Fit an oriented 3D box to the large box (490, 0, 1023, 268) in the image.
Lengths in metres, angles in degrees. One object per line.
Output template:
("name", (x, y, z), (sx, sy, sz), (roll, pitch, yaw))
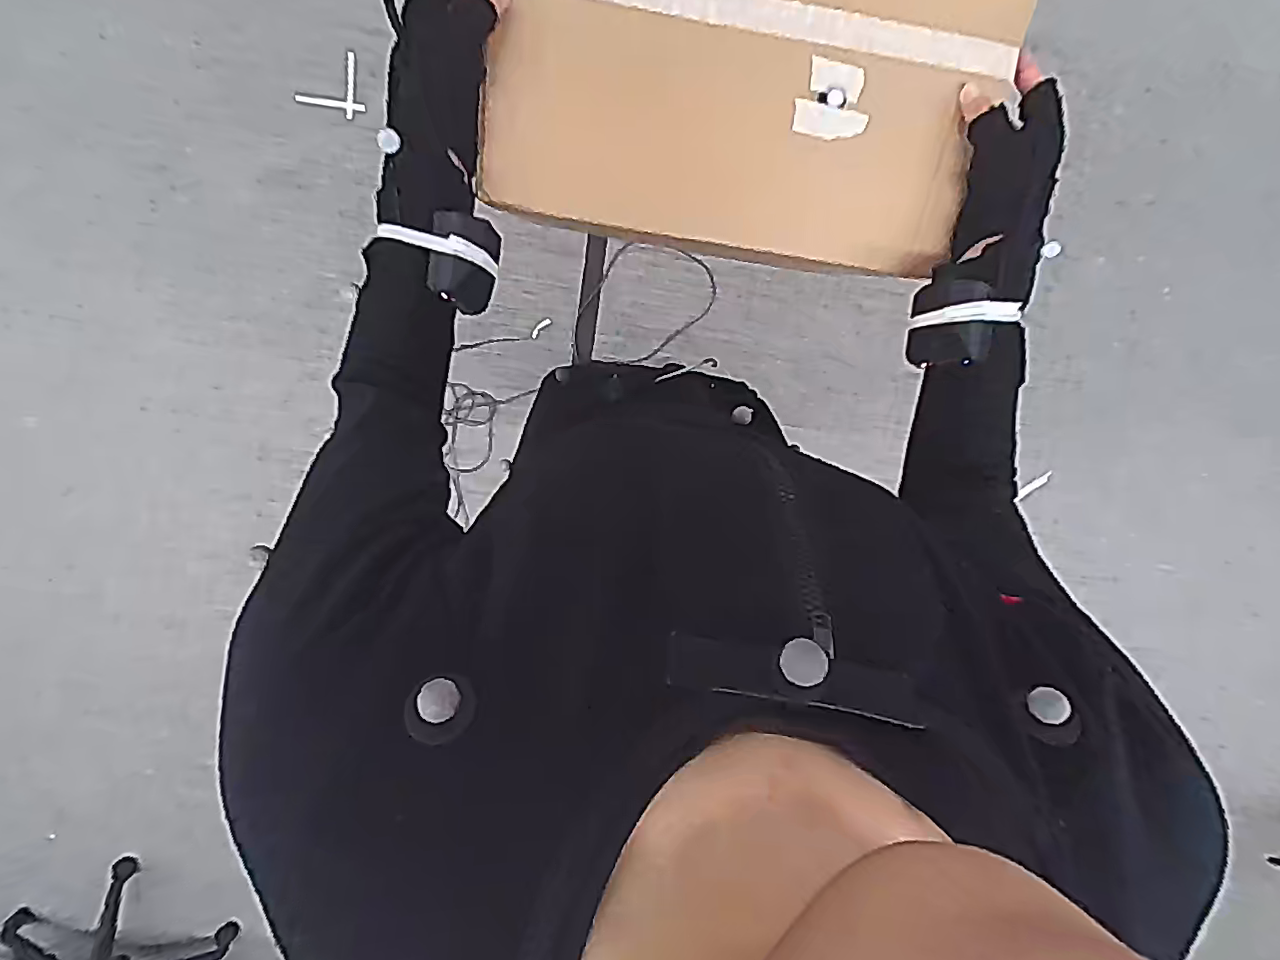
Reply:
("large box", (0.082, -0.407, 0.549), (0.408, 0.320, 0.320), (7, 112, -6))
